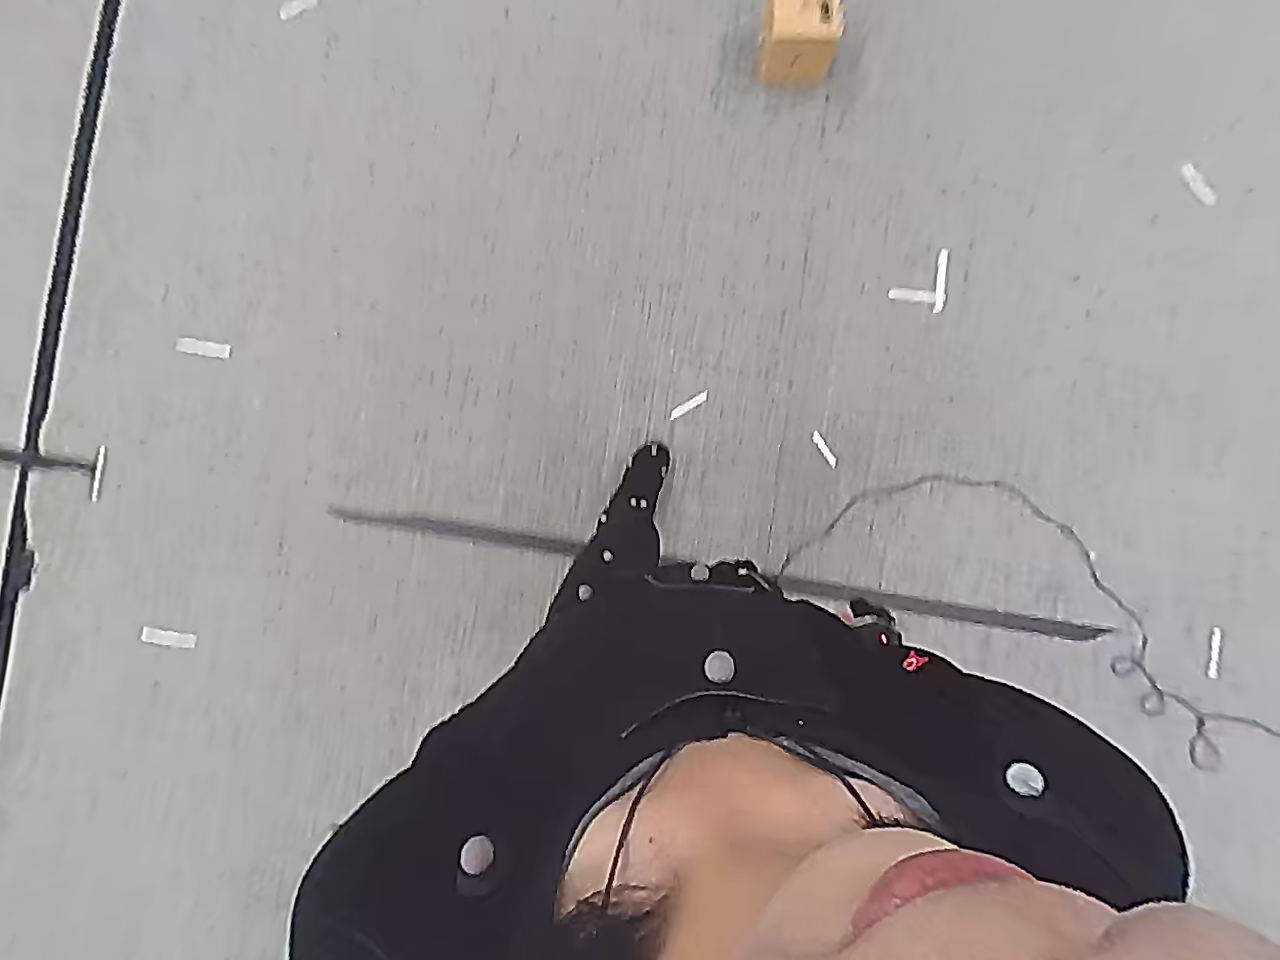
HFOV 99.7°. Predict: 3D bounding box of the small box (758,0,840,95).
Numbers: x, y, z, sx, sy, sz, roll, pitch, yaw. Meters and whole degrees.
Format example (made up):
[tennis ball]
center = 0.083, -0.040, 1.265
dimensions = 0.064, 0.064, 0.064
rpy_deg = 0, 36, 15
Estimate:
[small box]
center = 0.427, -1.187, 1.471
dimensions = 0.179, 0.176, 0.168
rpy_deg = 0, 87, 0
